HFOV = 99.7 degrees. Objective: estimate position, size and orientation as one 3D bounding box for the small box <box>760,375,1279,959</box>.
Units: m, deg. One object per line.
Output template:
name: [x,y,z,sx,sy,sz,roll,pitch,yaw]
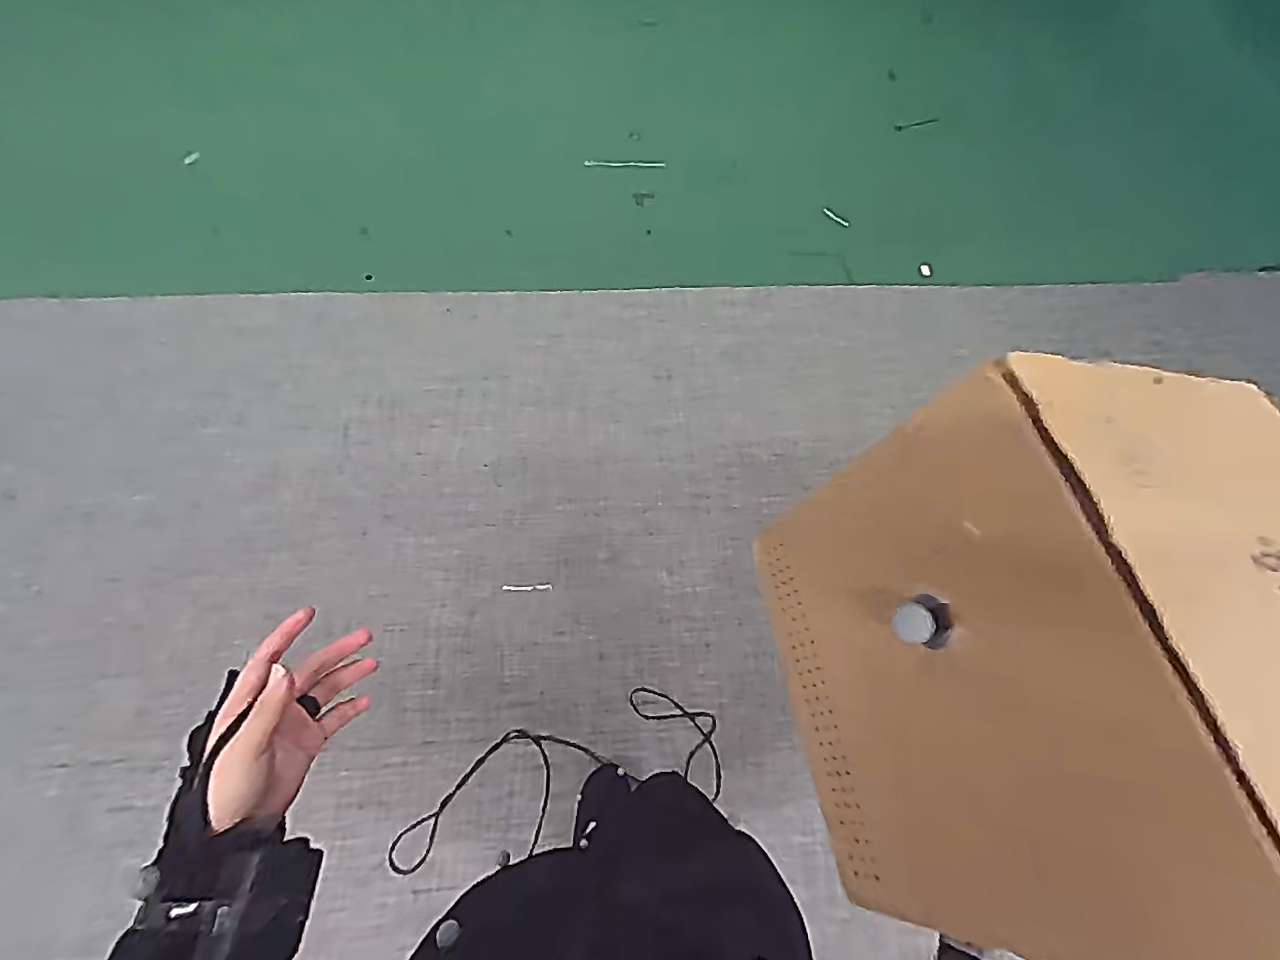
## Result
small box: [0.179,0.076,0.246,0.168,0.176,0.179,-1,62,-21]
